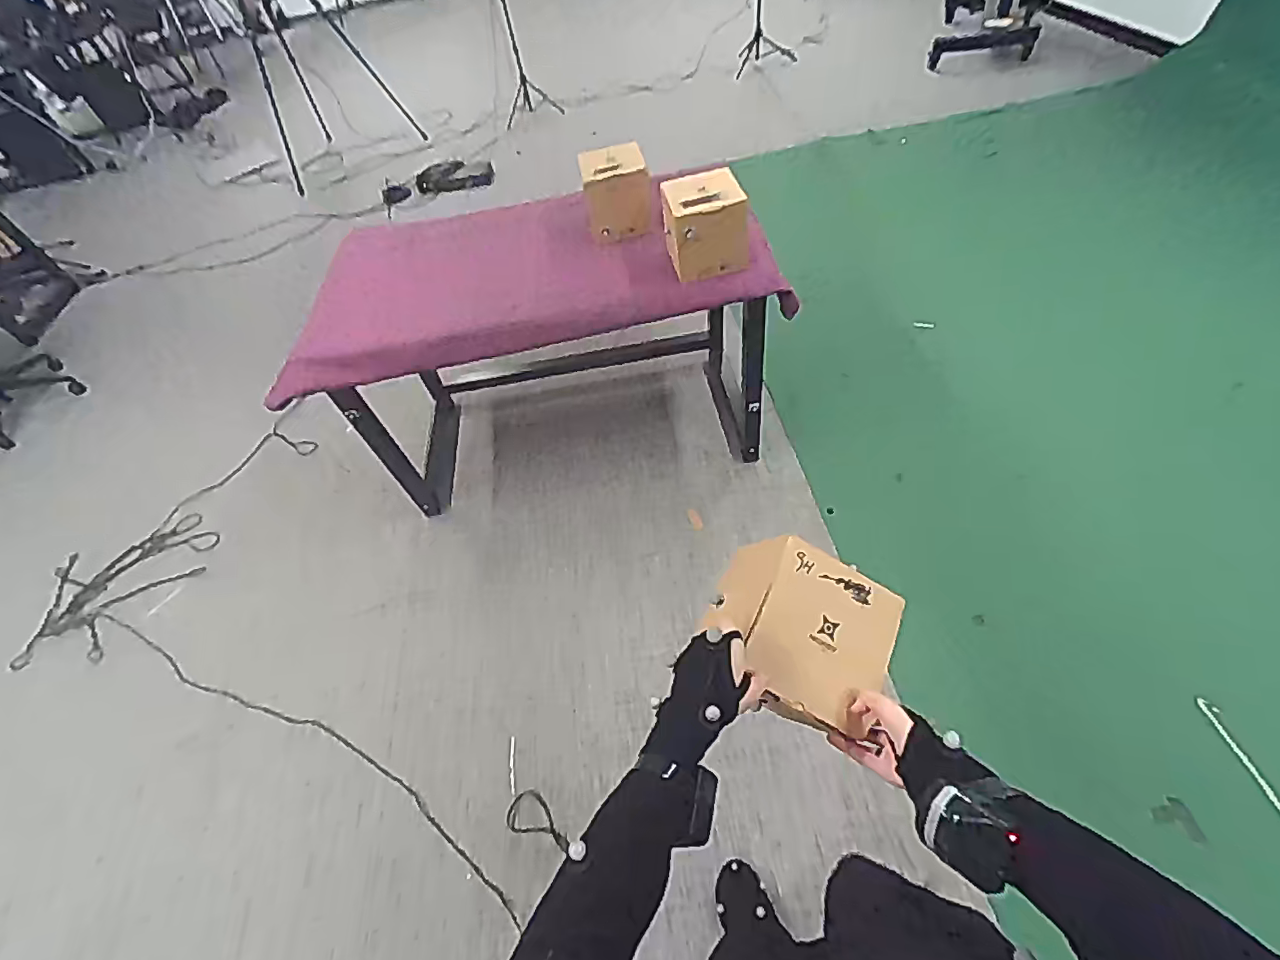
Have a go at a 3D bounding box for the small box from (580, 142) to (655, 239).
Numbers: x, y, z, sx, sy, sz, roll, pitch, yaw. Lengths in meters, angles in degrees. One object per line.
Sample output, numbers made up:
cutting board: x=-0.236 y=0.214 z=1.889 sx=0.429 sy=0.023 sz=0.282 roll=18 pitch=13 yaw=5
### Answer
small box: x=-0.058 y=-0.769 z=1.453 sx=0.168 sy=0.176 sz=0.179 roll=-12 pitch=51 yaw=0

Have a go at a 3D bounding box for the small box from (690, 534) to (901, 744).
small box: x=0.180 y=0.192 z=0.676 sx=0.168 sy=0.176 sz=0.179 roll=31 pitch=71 yaw=-5
